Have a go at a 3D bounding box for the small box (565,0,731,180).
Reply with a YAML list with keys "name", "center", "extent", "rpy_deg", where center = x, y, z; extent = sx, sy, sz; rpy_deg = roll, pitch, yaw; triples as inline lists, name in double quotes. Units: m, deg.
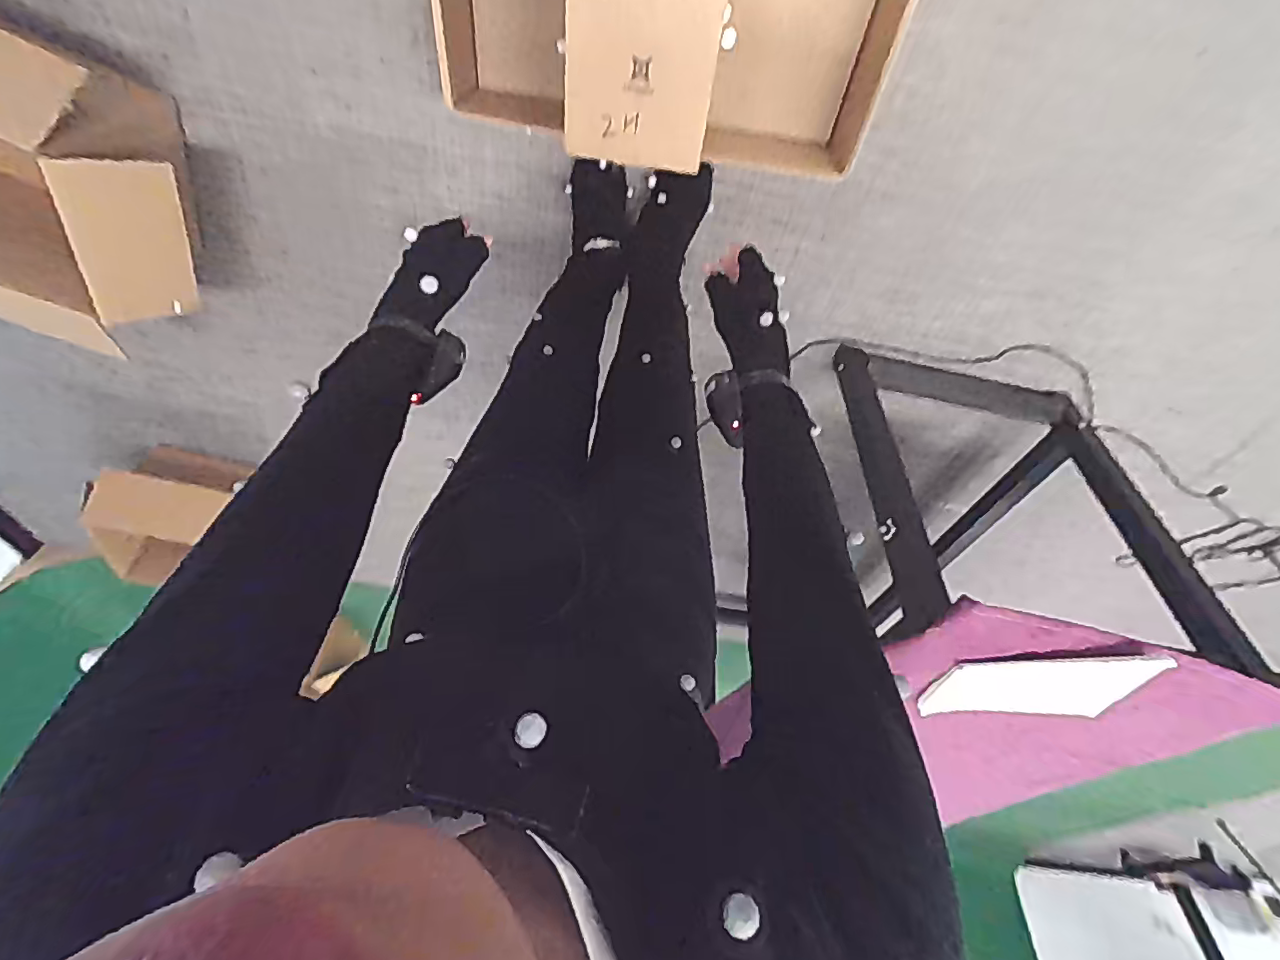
- name: "small box"
  center: [0.004, -0.495, 0.652]
  extent: [0.168, 0.176, 0.179]
  rpy_deg: [7, 137, -3]
